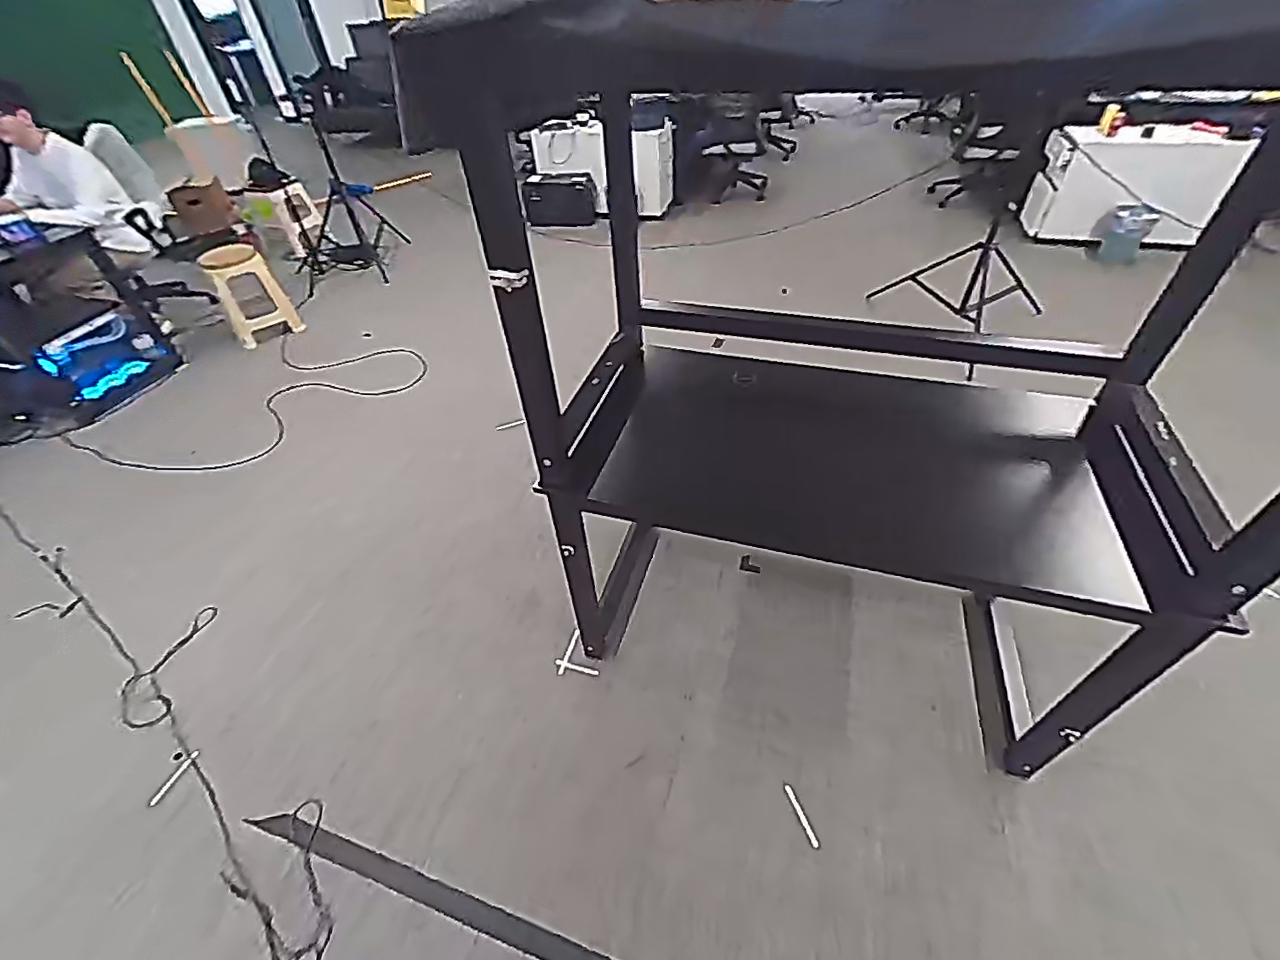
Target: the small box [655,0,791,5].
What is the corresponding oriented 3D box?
[{"bbox_3d":[0.101,-0.628,0.584,0.168,0.176,0.179,4,43,9],"label":"small box"}]
